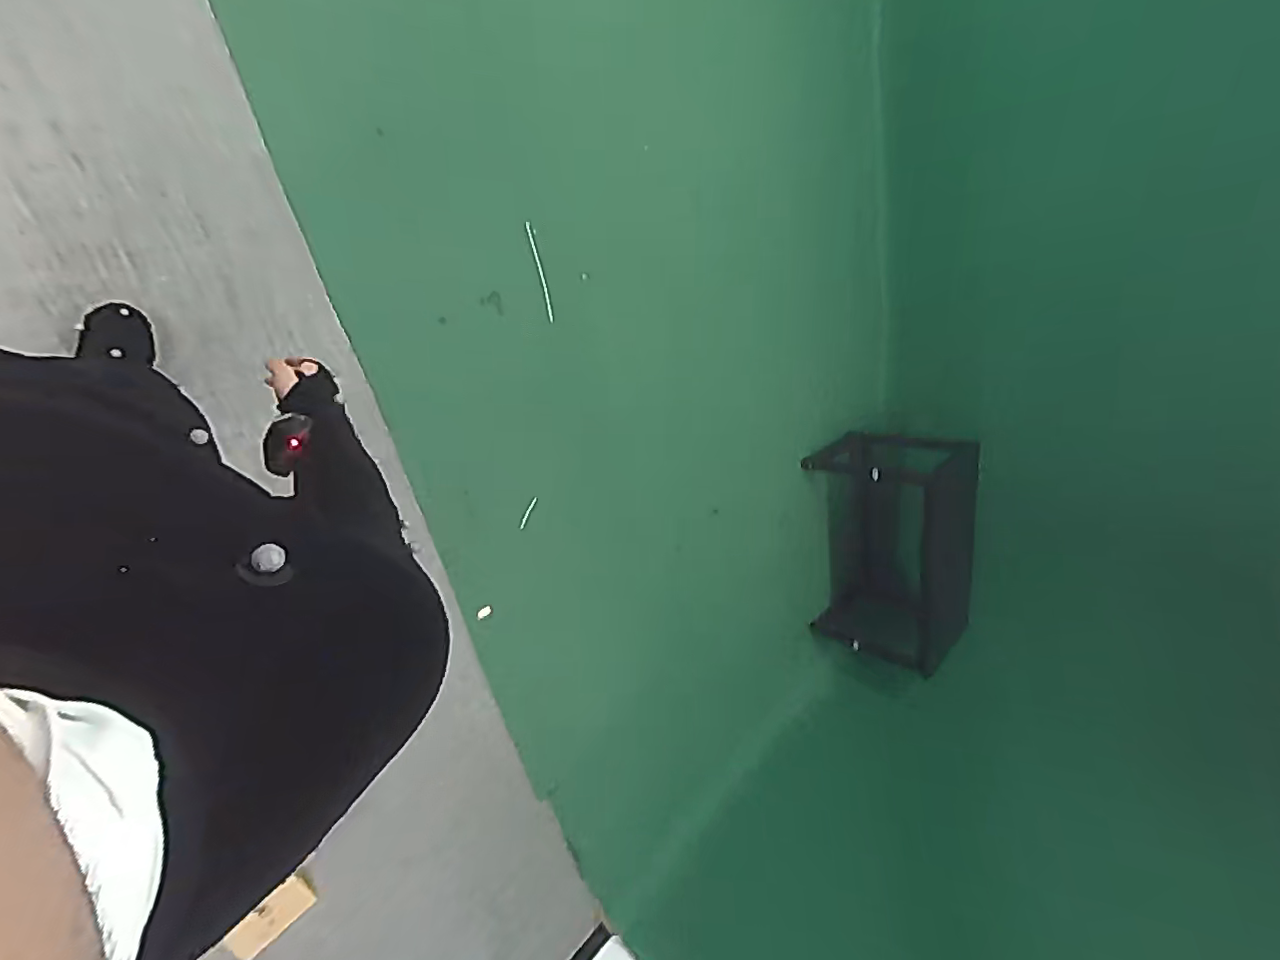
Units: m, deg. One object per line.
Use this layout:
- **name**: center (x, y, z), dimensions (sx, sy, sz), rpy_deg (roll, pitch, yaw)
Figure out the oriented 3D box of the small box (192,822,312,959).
- **small box**: center (-0.925, 0.963, 1.286), dimensions (0.168, 0.176, 0.179), rpy_deg (-34, 122, -31)
